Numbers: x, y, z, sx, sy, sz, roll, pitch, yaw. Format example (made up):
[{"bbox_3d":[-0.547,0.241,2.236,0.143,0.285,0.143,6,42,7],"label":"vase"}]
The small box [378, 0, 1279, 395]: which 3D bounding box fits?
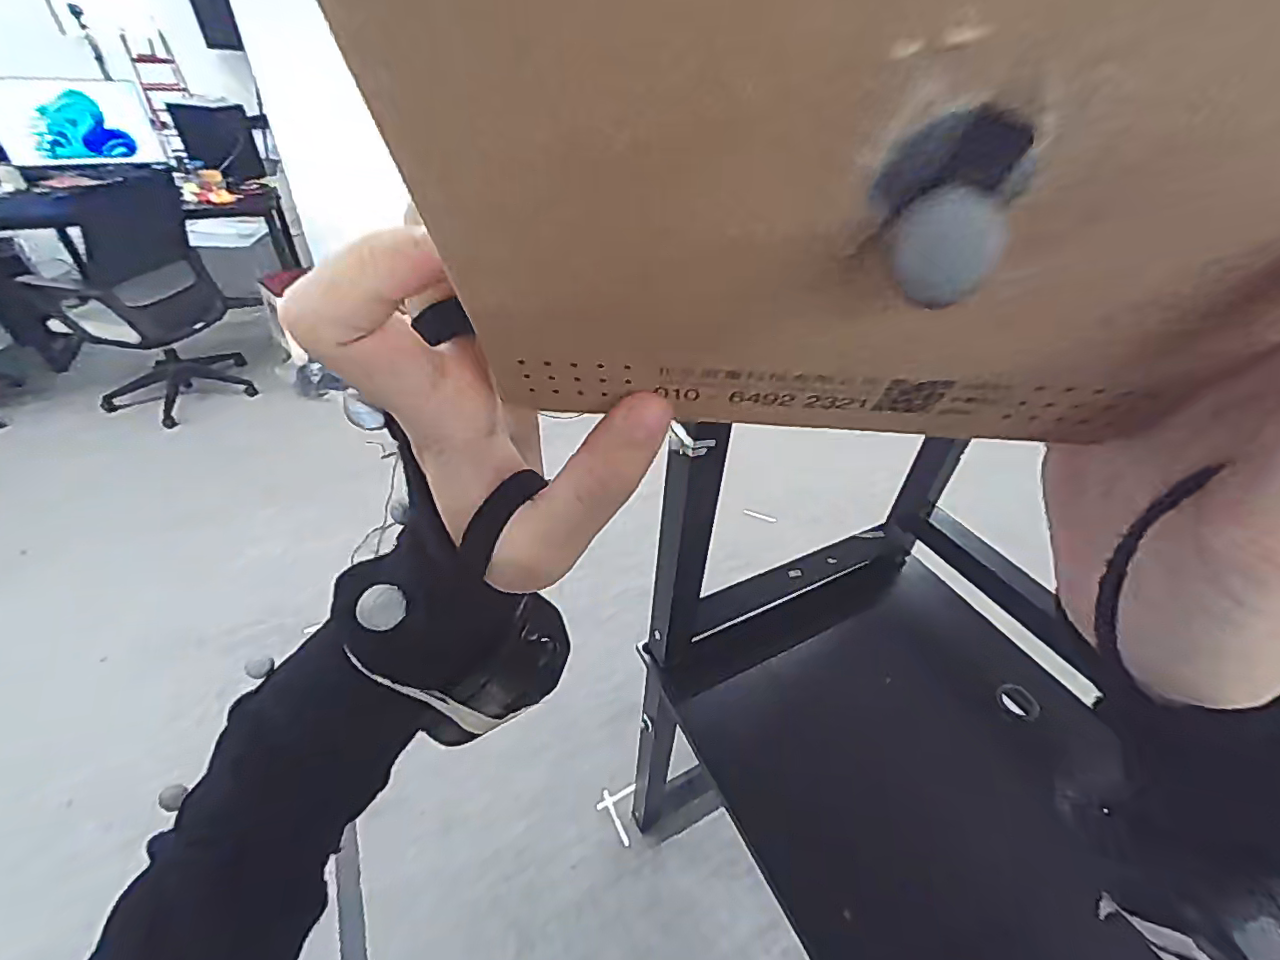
[{"bbox_3d":[0.050,-0.132,0.104,0.168,0.176,0.179,4,69,1],"label":"small box"}]
